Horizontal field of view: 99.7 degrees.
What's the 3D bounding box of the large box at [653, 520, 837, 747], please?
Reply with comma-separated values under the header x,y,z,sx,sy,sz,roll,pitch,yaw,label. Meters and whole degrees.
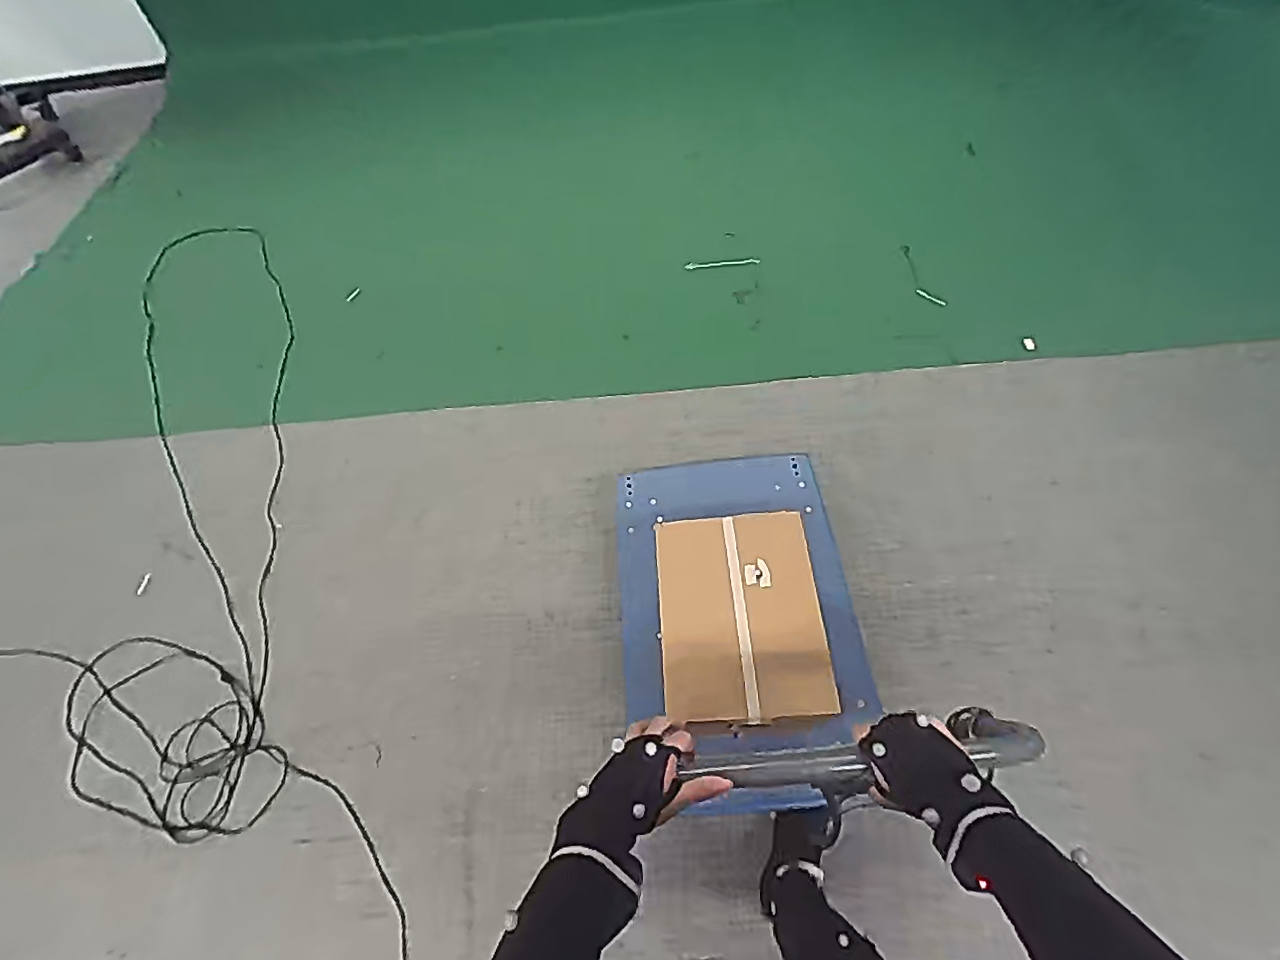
x,y,z,sx,sy,sz,roll,pitch,yaw,label
0.207,0.346,1.196,0.320,0.320,0.408,-5,58,3,large box
